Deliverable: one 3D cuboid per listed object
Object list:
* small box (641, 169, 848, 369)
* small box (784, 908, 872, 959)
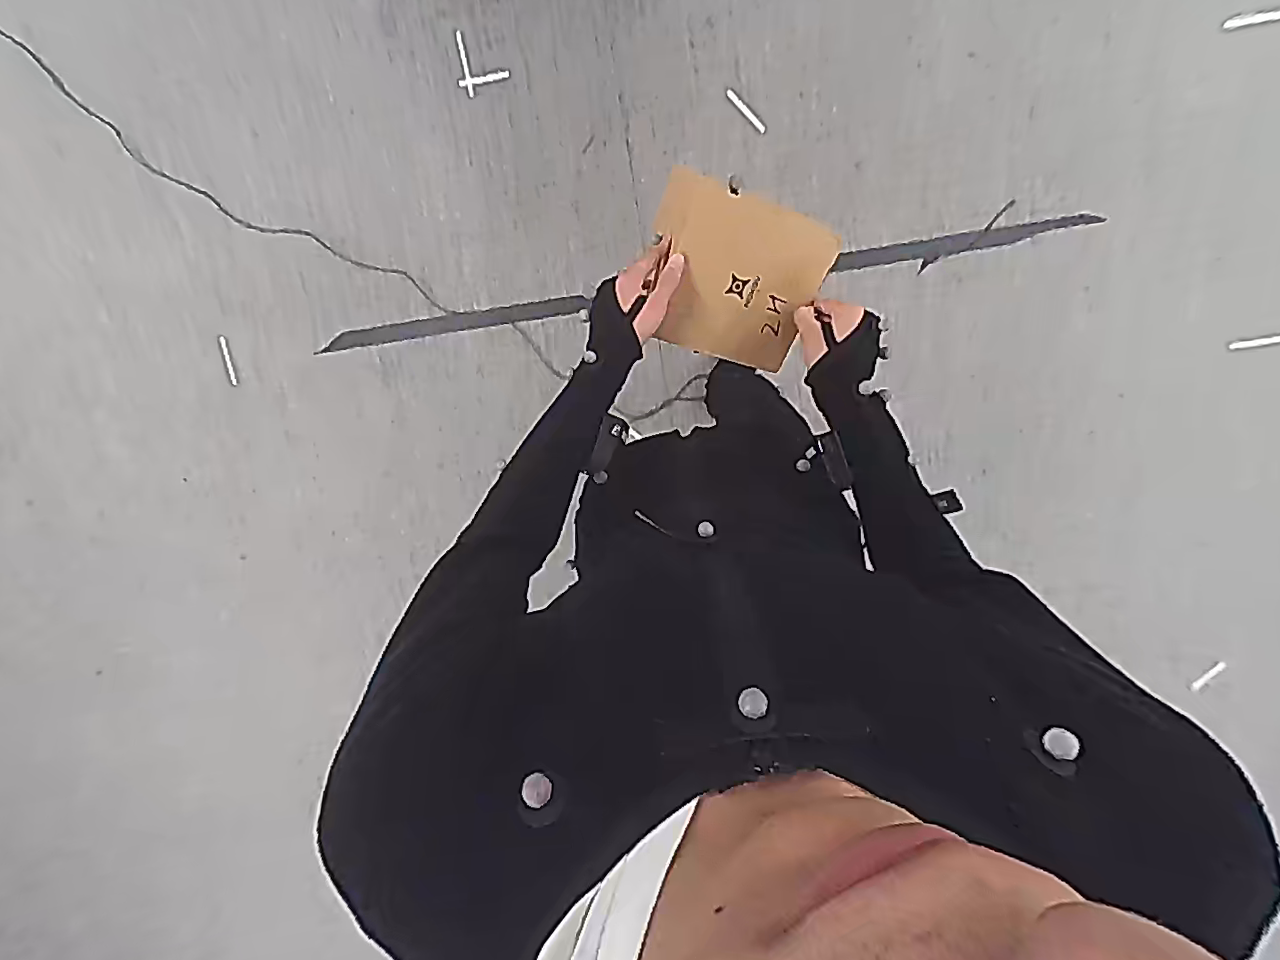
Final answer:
[{"bbox_3d":[0.109,-0.264,0.664,0.179,0.176,0.168,12,123,-16],"label":"small box"},{"bbox_3d":[0.405,1.062,1.148,0.168,0.176,0.179,-2,102,4],"label":"small box"}]
